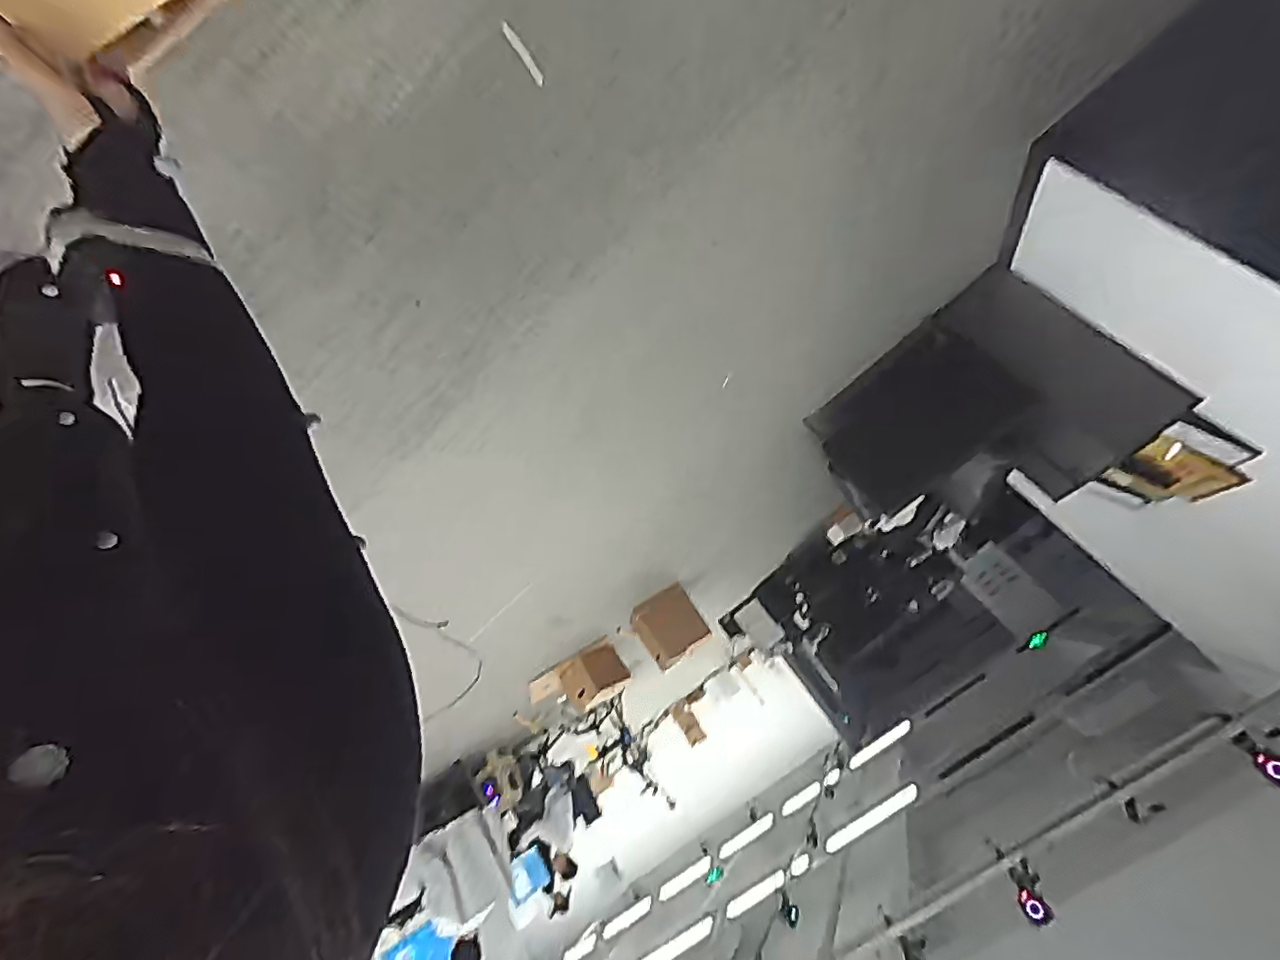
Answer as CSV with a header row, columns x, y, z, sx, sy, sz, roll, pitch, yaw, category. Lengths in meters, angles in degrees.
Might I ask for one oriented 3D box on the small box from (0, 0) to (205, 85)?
x,y,z,sx,sy,sz,roll,pitch,yaw,category
-0.436,-0.446,0.386,0.179,0.176,0.168,-35,155,0,small box
